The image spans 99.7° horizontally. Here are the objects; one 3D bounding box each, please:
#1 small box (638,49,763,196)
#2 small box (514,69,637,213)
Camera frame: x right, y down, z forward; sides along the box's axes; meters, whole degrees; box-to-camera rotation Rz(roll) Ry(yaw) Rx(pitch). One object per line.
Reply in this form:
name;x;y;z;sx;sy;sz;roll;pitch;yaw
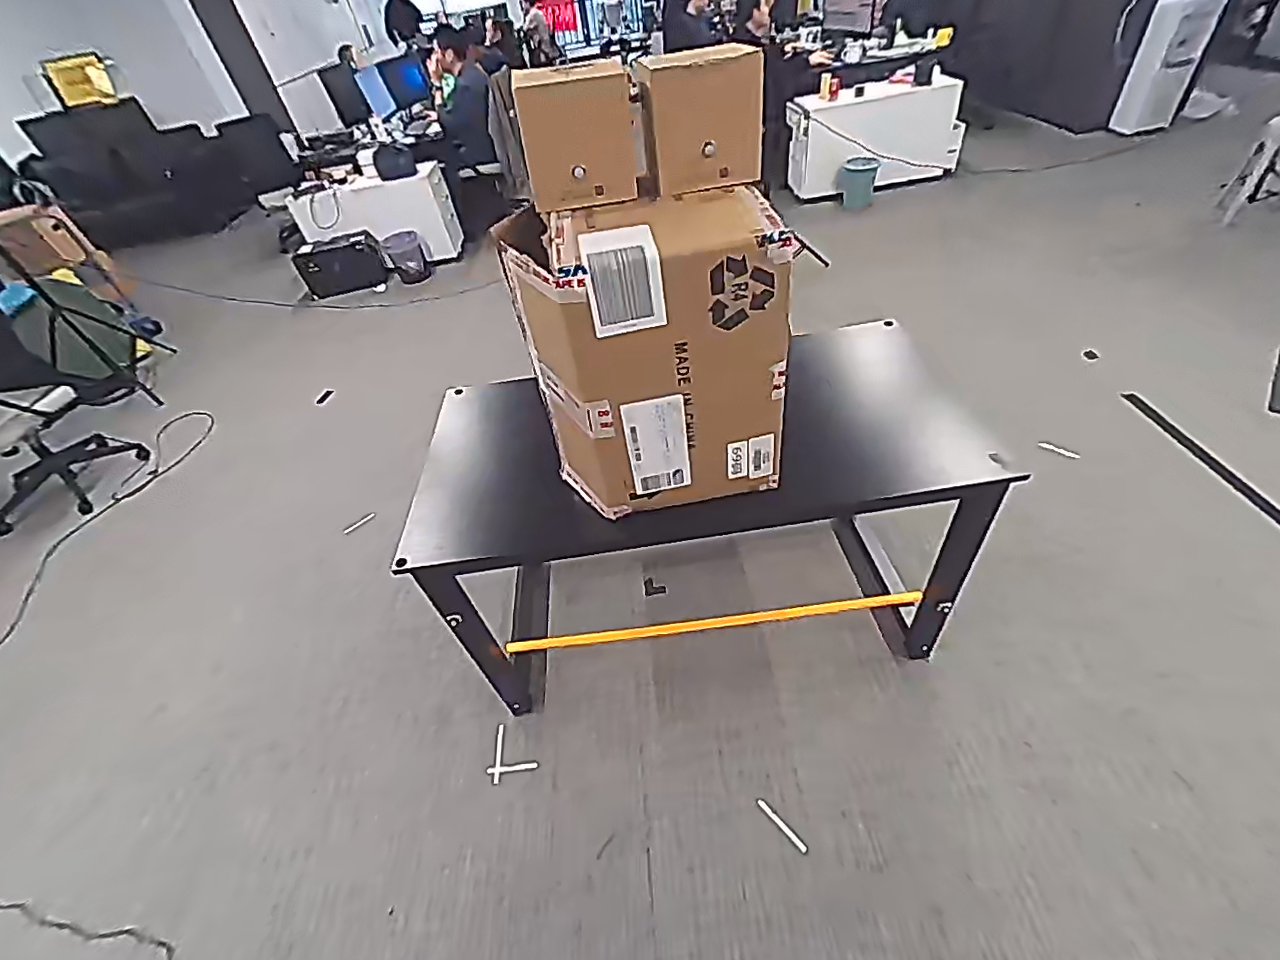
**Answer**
small box;0.094;-0.580;0.879;0.168;0.176;0.179;-11;42;-1
small box;-0.102;-0.548;0.876;0.168;0.176;0.179;-10;42;-4
